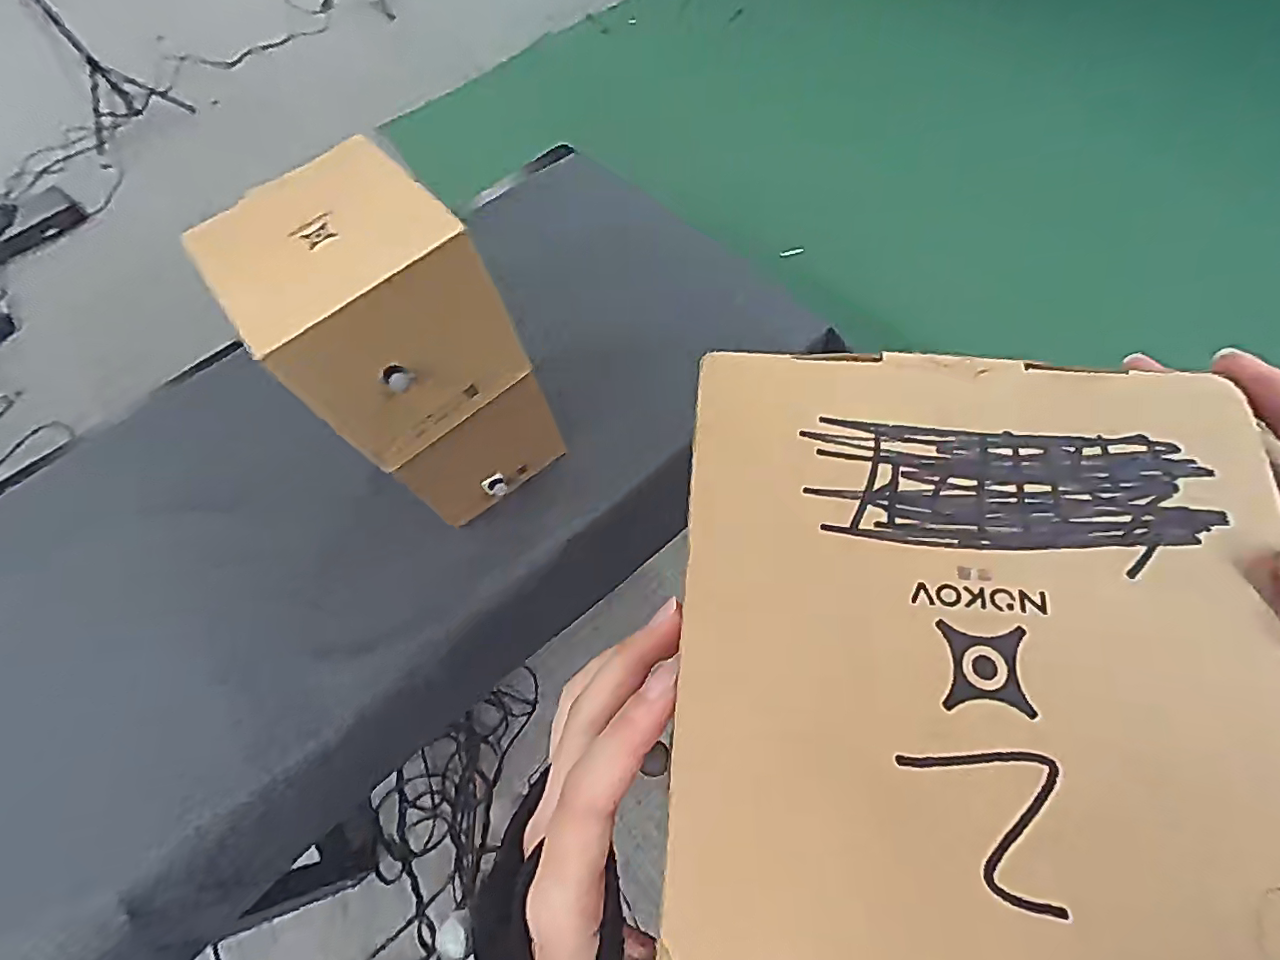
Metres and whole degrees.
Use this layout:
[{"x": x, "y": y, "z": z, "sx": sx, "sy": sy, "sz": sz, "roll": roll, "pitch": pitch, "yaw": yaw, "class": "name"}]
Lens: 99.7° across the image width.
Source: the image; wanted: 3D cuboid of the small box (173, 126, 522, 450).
[{"x": -0.230, "y": -0.149, "z": 0.463, "sx": 0.168, "sy": 0.176, "sz": 0.179, "roll": -40, "pitch": 65, "yaw": -11, "class": "small box"}]

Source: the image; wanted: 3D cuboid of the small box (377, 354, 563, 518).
[{"x": -0.214, "y": -0.086, "z": 0.613, "sx": 0.168, "sy": 0.176, "sz": 0.179, "roll": -39, "pitch": 67, "yaw": -11, "class": "small box"}]
